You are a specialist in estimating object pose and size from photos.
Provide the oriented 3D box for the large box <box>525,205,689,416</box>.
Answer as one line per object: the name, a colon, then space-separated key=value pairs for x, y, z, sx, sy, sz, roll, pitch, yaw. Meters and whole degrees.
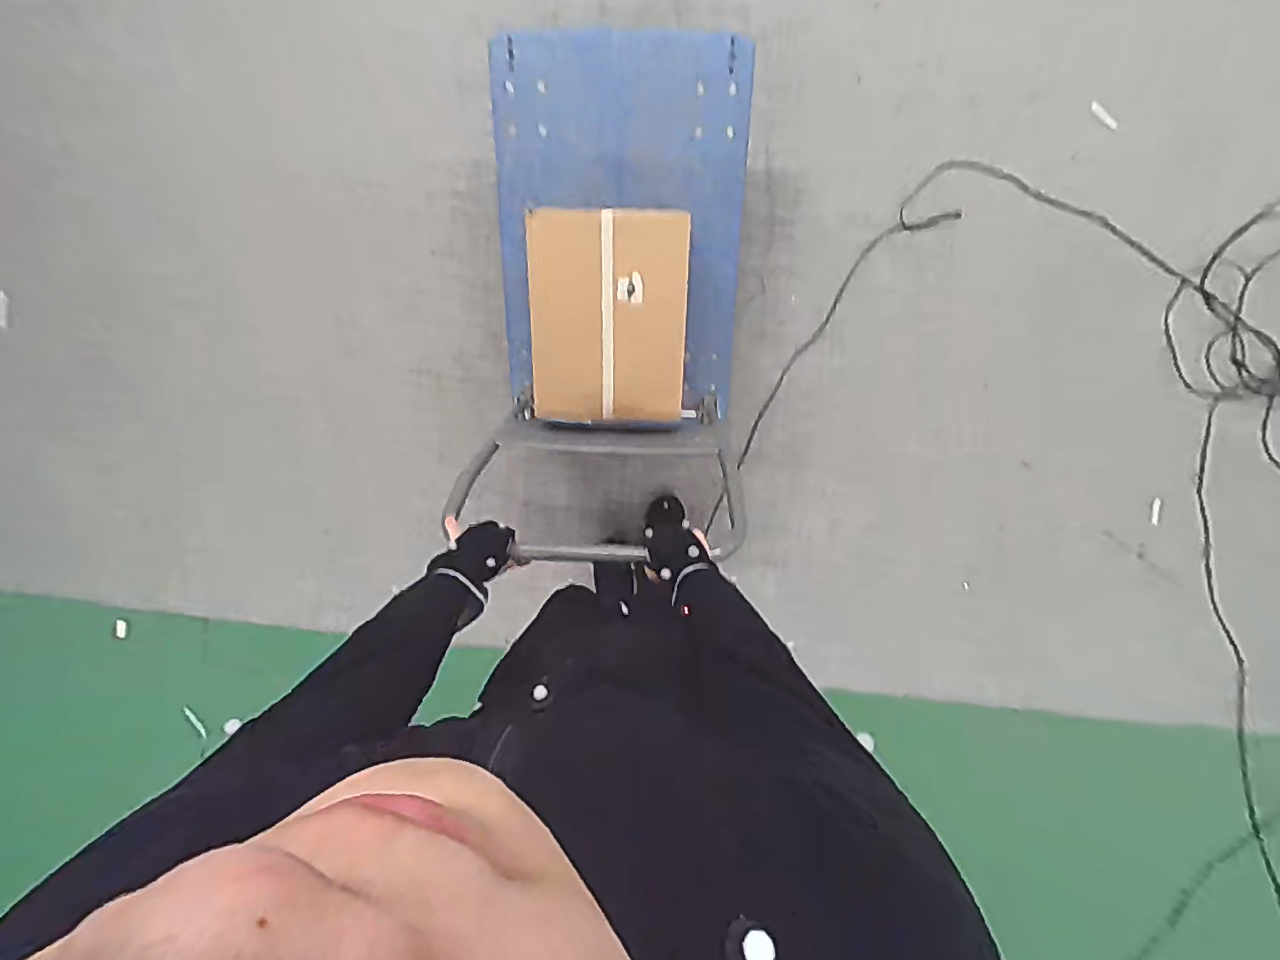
large box: x=-0.056 y=-0.375 z=1.212 sx=0.320 sy=0.320 sz=0.408 roll=2 pitch=111 yaw=1
